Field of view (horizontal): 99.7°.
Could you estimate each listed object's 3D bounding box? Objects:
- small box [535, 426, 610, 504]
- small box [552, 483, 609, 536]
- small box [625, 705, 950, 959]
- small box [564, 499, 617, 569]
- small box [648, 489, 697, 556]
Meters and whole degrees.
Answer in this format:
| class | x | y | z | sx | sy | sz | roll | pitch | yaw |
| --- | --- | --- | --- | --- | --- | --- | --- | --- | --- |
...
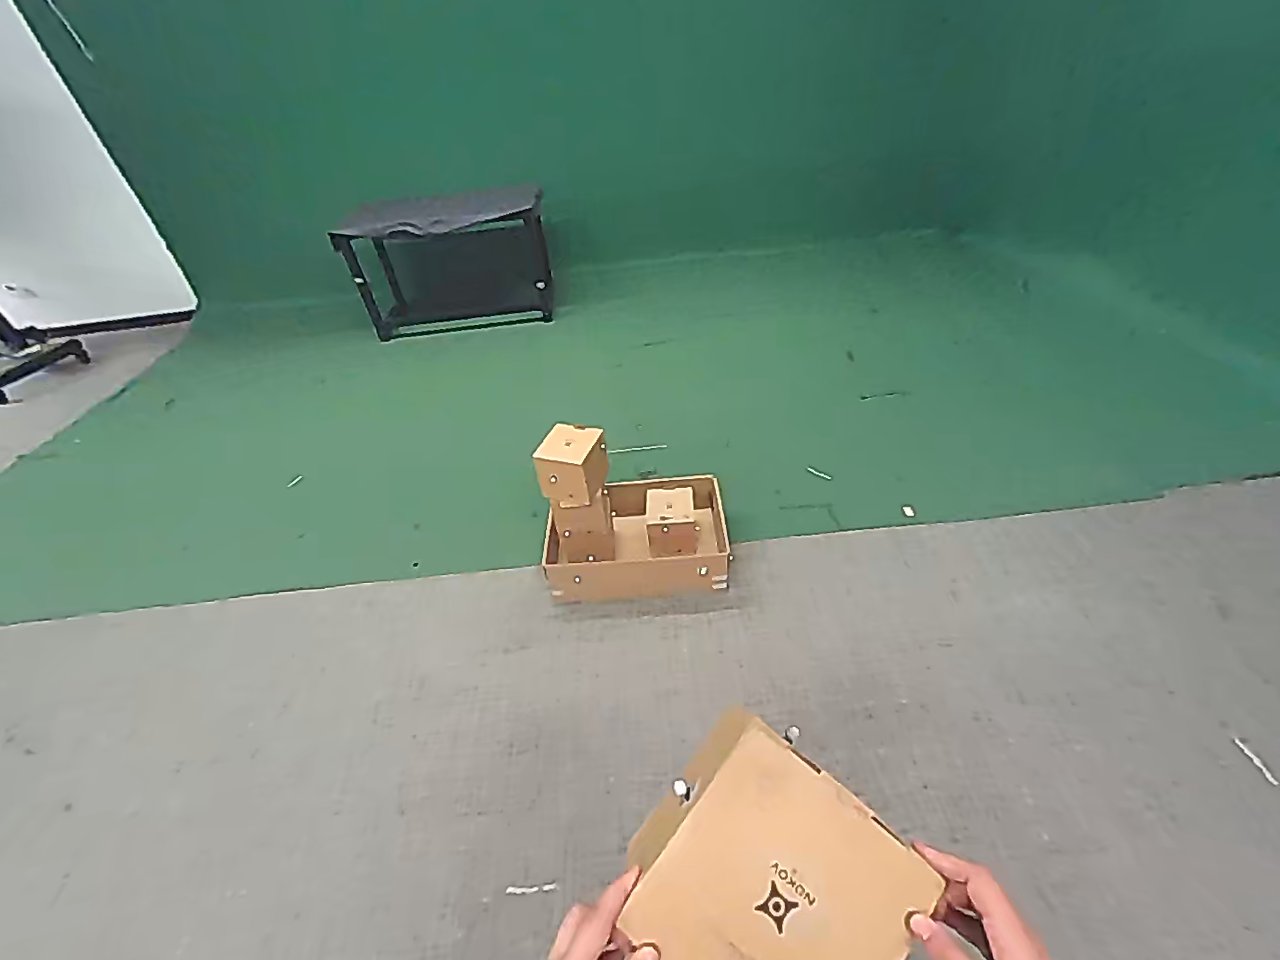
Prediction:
| class | x | y | z | sx | sy | sz | roll | pitch | yaw |
| --- | --- | --- | --- | --- | --- | --- | --- | --- | --- |
| small box | -0.203 | -0.046 | 1.694 | 0.168 | 0.176 | 0.179 | 10 | 42 | 18 |
| small box | -0.192 | 0.073 | 1.804 | 0.168 | 0.176 | 0.179 | -5 | 40 | 1 |
| small box | 0.106 | 0.315 | 0.454 | 0.168 | 0.176 | 0.179 | 37 | 78 | 14 |
| small box | -0.173 | 0.190 | 1.918 | 0.168 | 0.176 | 0.179 | -6 | 40 | 0 |
| small box | 0.117 | 0.153 | 1.926 | 0.168 | 0.176 | 0.179 | -3 | 41 | 5 |
